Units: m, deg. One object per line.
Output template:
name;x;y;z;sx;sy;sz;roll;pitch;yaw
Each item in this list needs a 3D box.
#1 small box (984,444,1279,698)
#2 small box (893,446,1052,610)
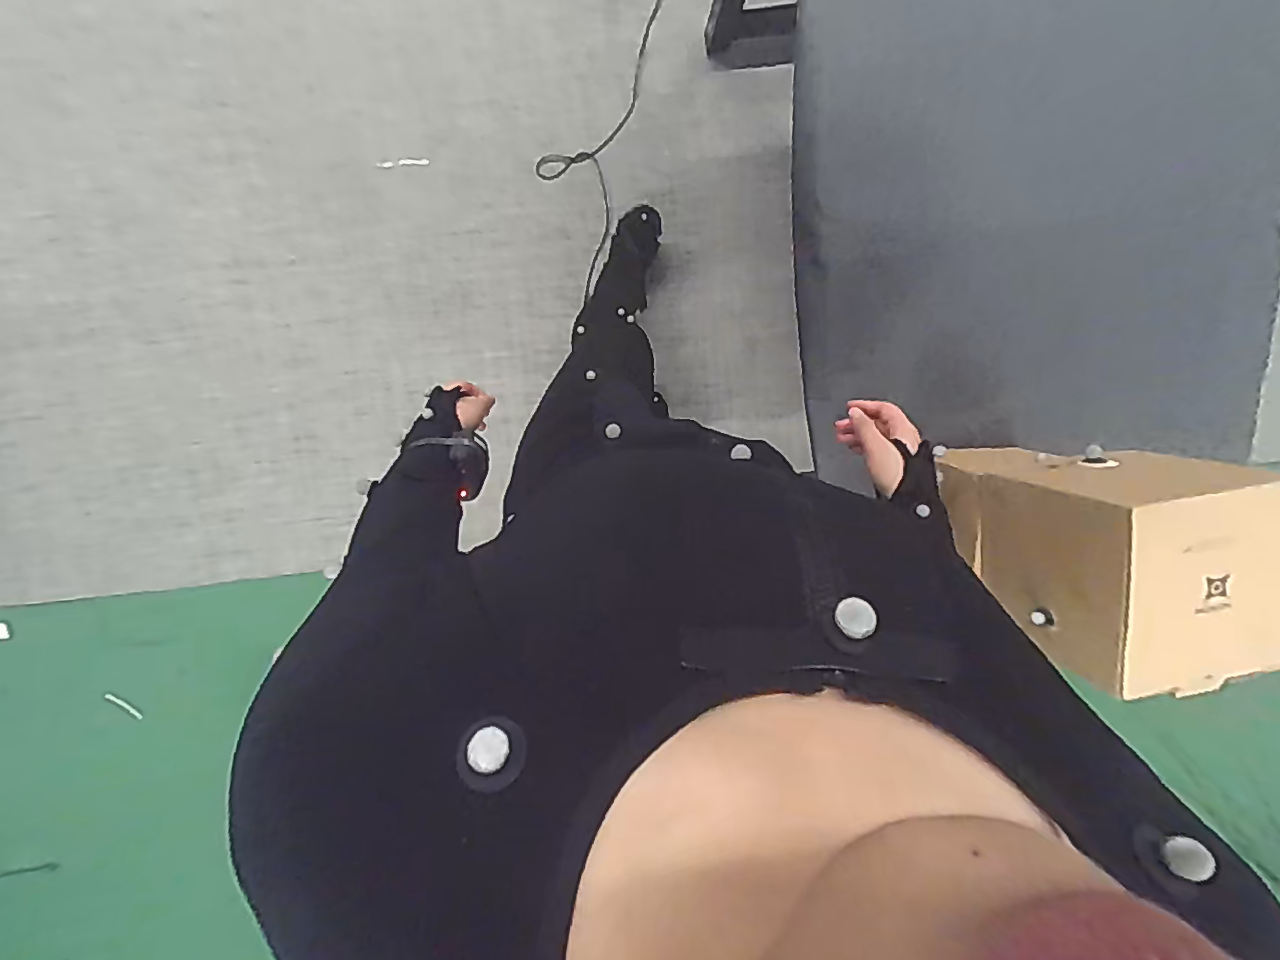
small box;0.459;0.070;0.511;0.168;0.176;0.179;-9;100;-4
small box;0.447;0.049;0.672;0.179;0.176;0.168;-1;101;-4
